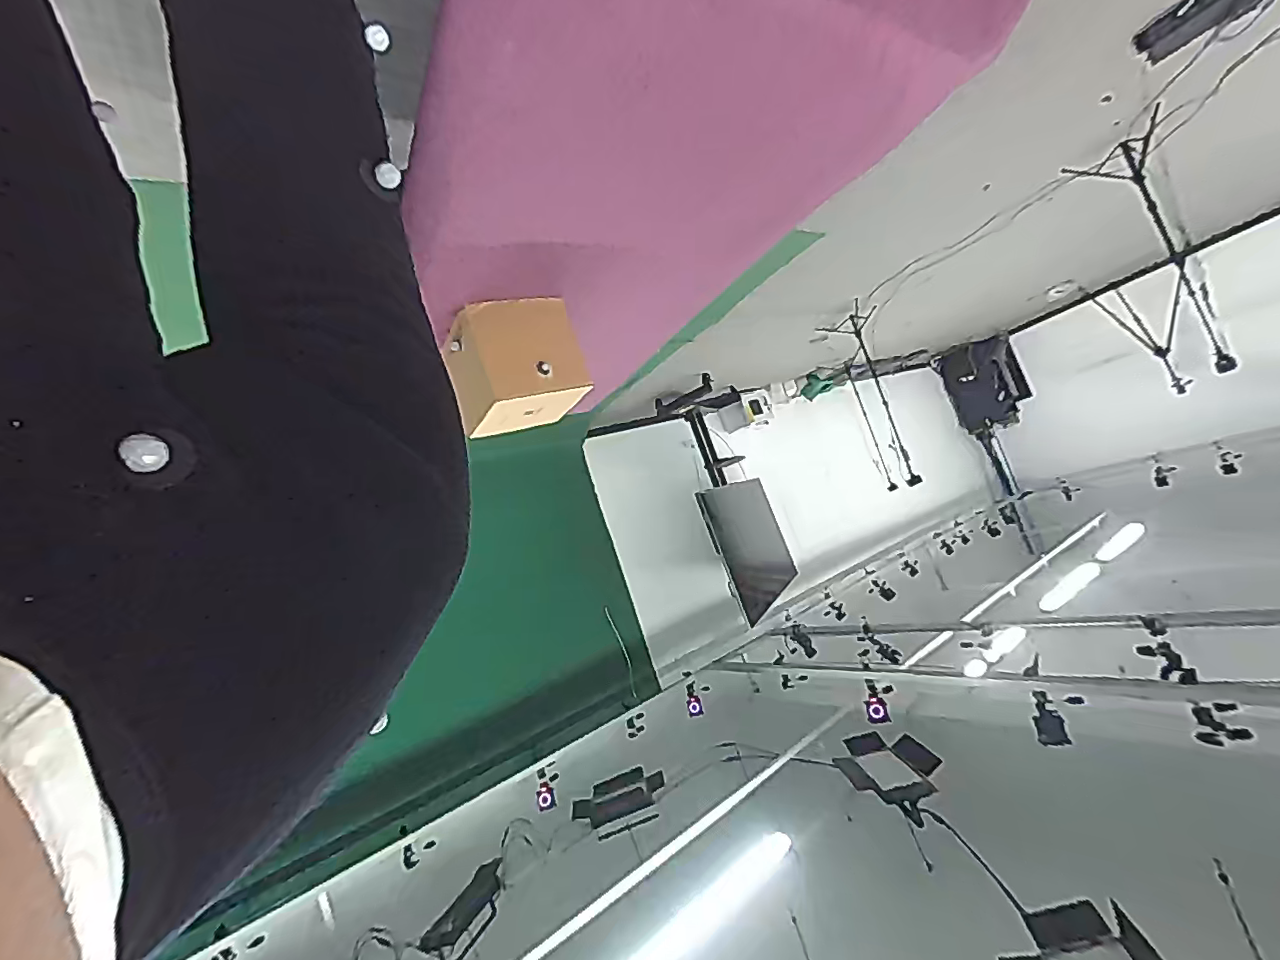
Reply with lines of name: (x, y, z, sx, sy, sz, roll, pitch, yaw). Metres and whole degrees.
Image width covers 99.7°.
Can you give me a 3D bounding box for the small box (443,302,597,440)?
small box: (-0.205, -0.184, 0.905, 0.179, 0.176, 0.168, -16, 173, -35)
